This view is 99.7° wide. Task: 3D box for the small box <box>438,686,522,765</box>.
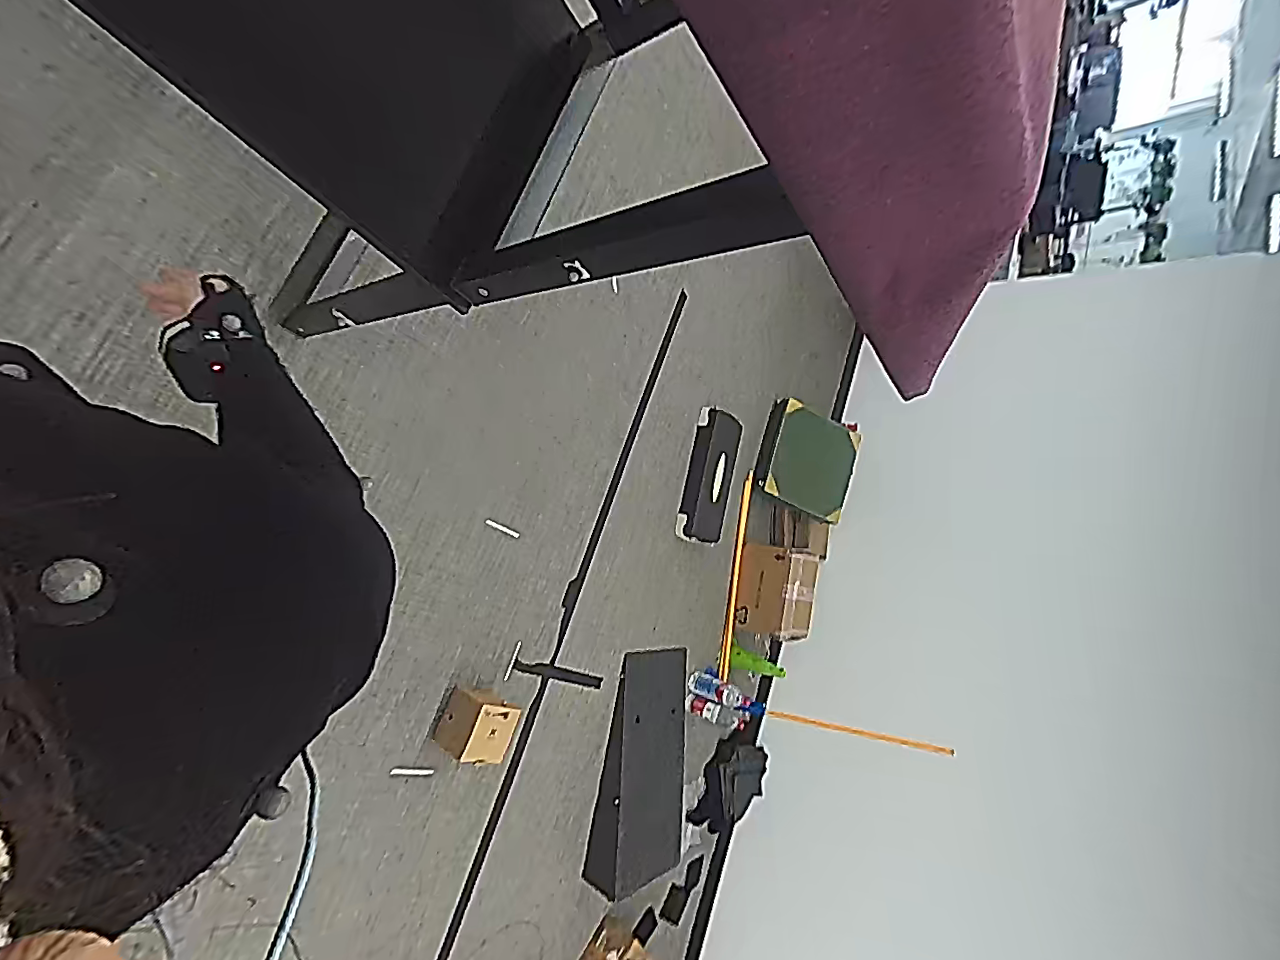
[{"bbox_3d":[-0.522,0.792,1.747,0.168,0.176,0.179,37,68,-46],"label":"small box"}]
